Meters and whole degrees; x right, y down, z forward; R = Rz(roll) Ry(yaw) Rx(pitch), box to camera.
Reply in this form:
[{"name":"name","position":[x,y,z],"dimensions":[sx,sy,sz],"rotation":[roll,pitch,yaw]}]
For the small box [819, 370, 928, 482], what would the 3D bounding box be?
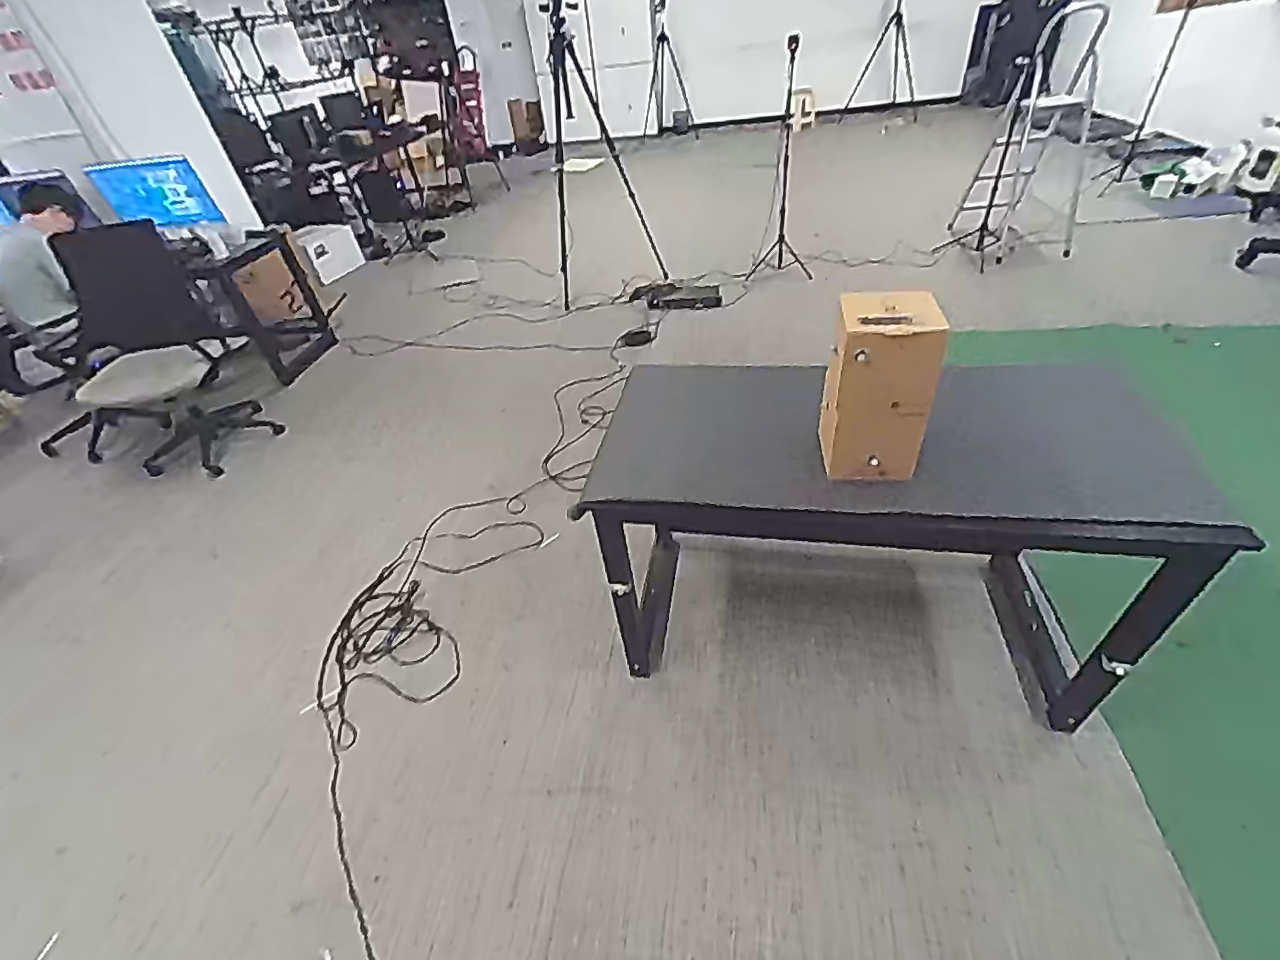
[{"name":"small box","position":[0.475,-0.114,1.131],"dimensions":[0.168,0.176,0.179],"rotation":[0,40,10]}]
